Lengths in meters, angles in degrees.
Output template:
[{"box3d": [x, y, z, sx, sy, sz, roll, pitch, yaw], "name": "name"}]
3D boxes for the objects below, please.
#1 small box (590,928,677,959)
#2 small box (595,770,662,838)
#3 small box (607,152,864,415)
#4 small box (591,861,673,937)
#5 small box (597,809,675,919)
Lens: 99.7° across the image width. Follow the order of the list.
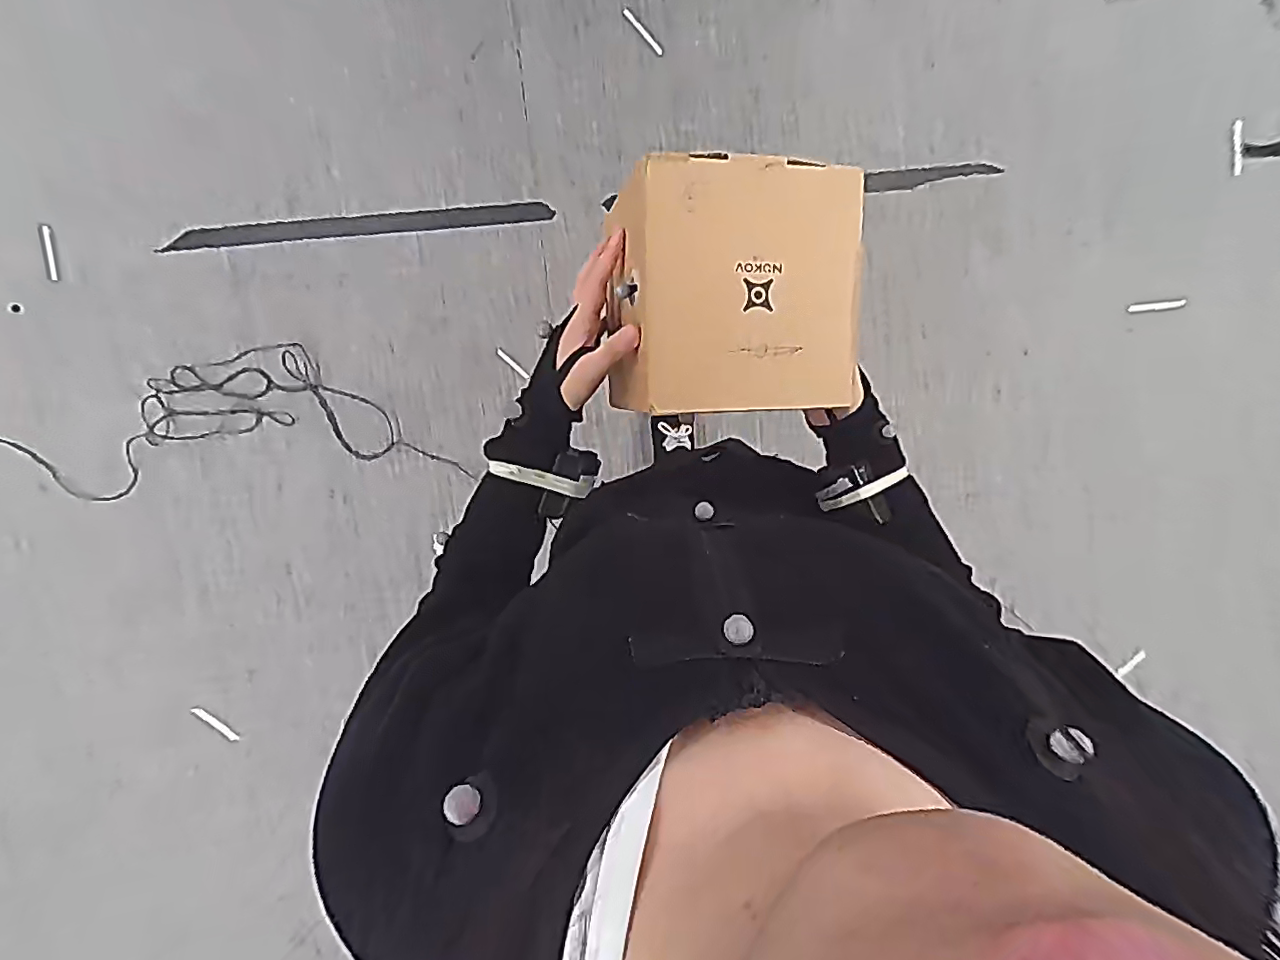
[{"box3d": [-0.007, 0.976, 1.000, 0.168, 0.176, 0.179, -5, 96, -2], "name": "small box"}, {"box3d": [-0.026, 0.931, 1.490, 0.179, 0.176, 0.168, -6, 95, -2], "name": "small box"}, {"box3d": [0.067, -0.147, 0.465, 0.168, 0.176, 0.179, -3, 100, -13], "name": "small box"}, {"box3d": [-0.016, 0.959, 1.164, 0.168, 0.176, 0.179, -4, 94, -2], "name": "small box"}, {"box3d": [-0.014, 0.941, 1.327, 0.179, 0.176, 0.168, -4, 94, -2], "name": "small box"}]
